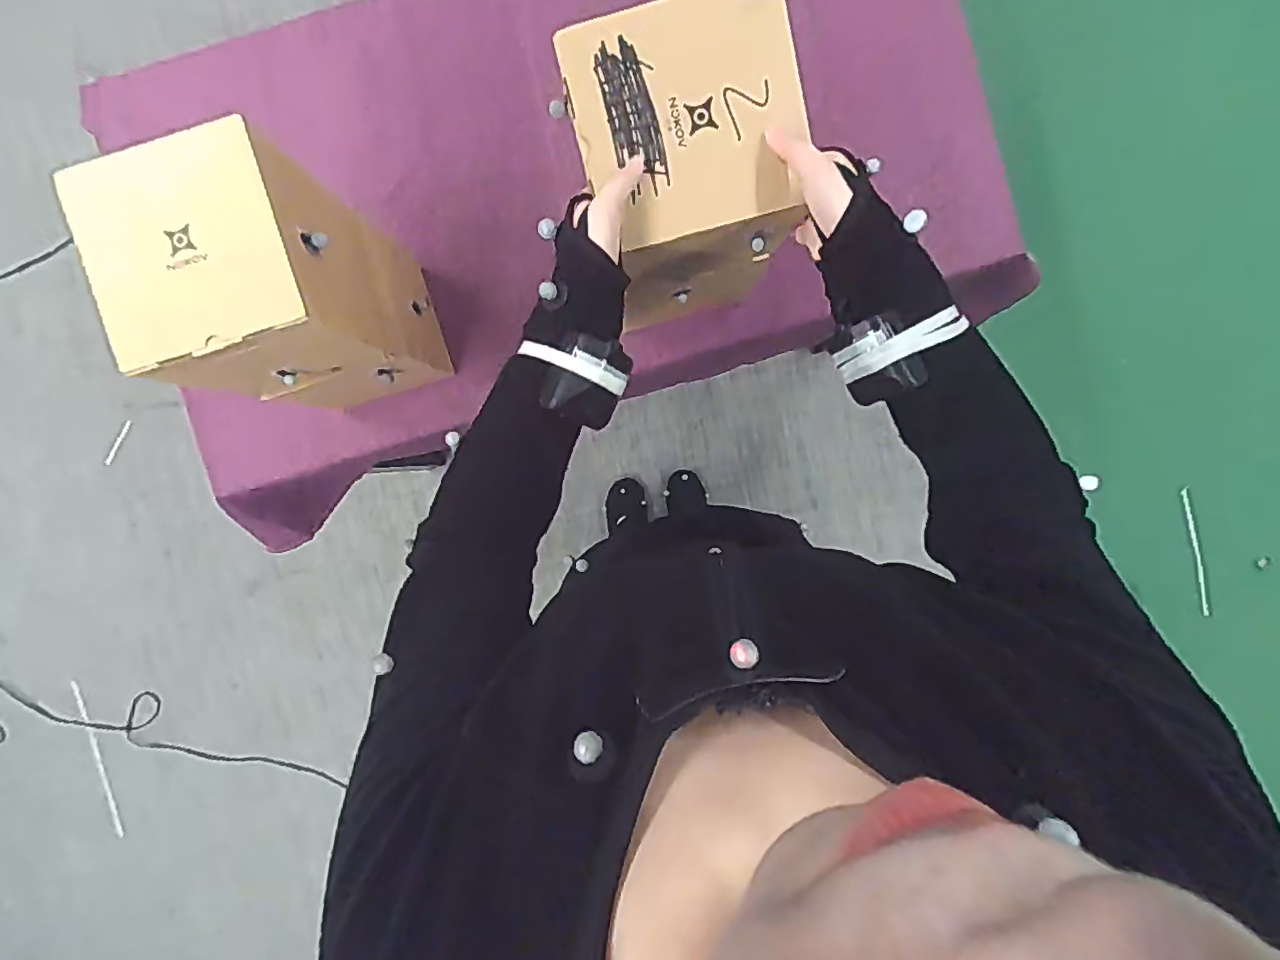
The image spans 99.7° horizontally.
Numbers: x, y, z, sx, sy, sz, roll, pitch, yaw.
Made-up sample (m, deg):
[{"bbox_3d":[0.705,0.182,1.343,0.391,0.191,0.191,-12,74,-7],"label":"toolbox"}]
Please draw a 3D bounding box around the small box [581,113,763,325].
[{"bbox_3d":[0.038,-0.310,0.682,0.179,0.176,0.168,-14,93,1],"label":"small box"}]

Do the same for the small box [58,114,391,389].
[{"bbox_3d":[-0.378,-0.201,0.528,0.168,0.176,0.179,-17,93,1],"label":"small box"}]

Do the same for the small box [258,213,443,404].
[{"bbox_3d":[-0.373,-0.204,0.691,0.179,0.176,0.168,-17,92,1],"label":"small box"}]
